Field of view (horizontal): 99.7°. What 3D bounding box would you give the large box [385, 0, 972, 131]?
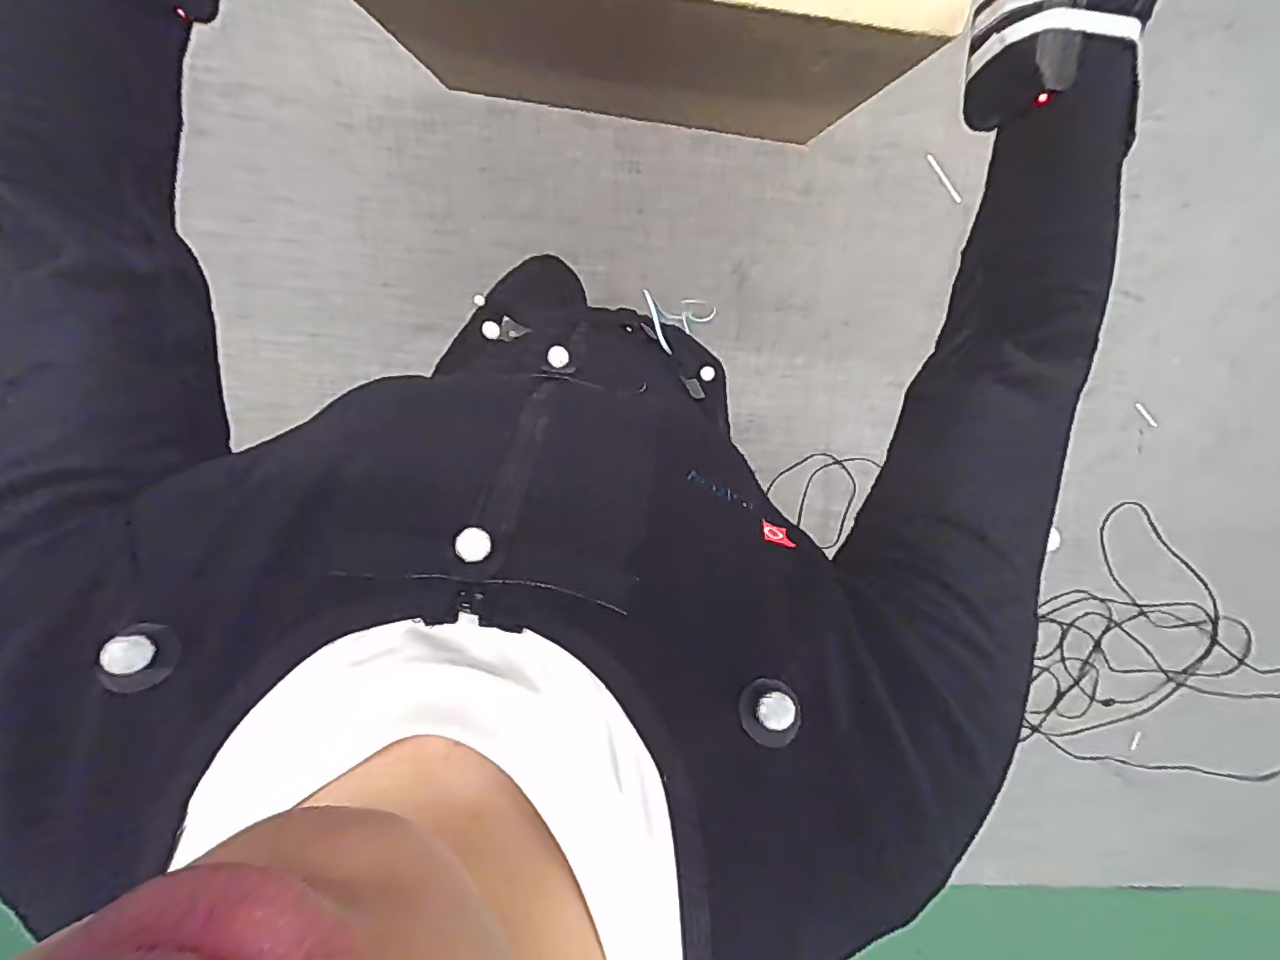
[{"bbox_3d":[0.017,-0.496,0.407,0.408,0.320,0.320,6,112,-4],"label":"large box"}]
